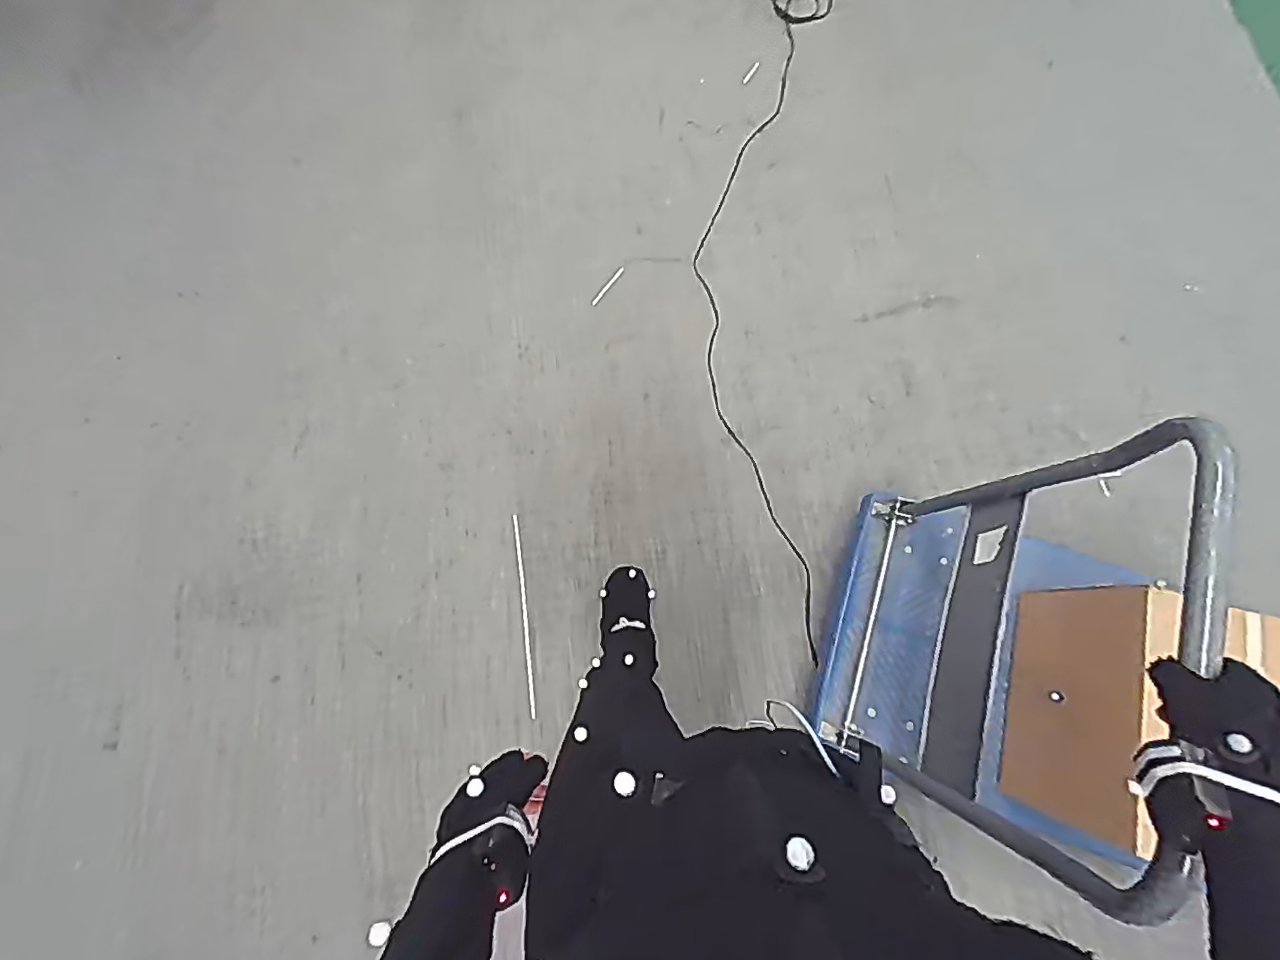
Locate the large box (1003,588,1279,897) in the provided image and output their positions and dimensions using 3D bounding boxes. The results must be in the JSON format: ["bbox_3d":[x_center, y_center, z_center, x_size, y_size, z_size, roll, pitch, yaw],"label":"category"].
[{"bbox_3d":[0.906,0.435,0.962,0.320,0.320,0.408,15,75,2],"label":"large box"}]
